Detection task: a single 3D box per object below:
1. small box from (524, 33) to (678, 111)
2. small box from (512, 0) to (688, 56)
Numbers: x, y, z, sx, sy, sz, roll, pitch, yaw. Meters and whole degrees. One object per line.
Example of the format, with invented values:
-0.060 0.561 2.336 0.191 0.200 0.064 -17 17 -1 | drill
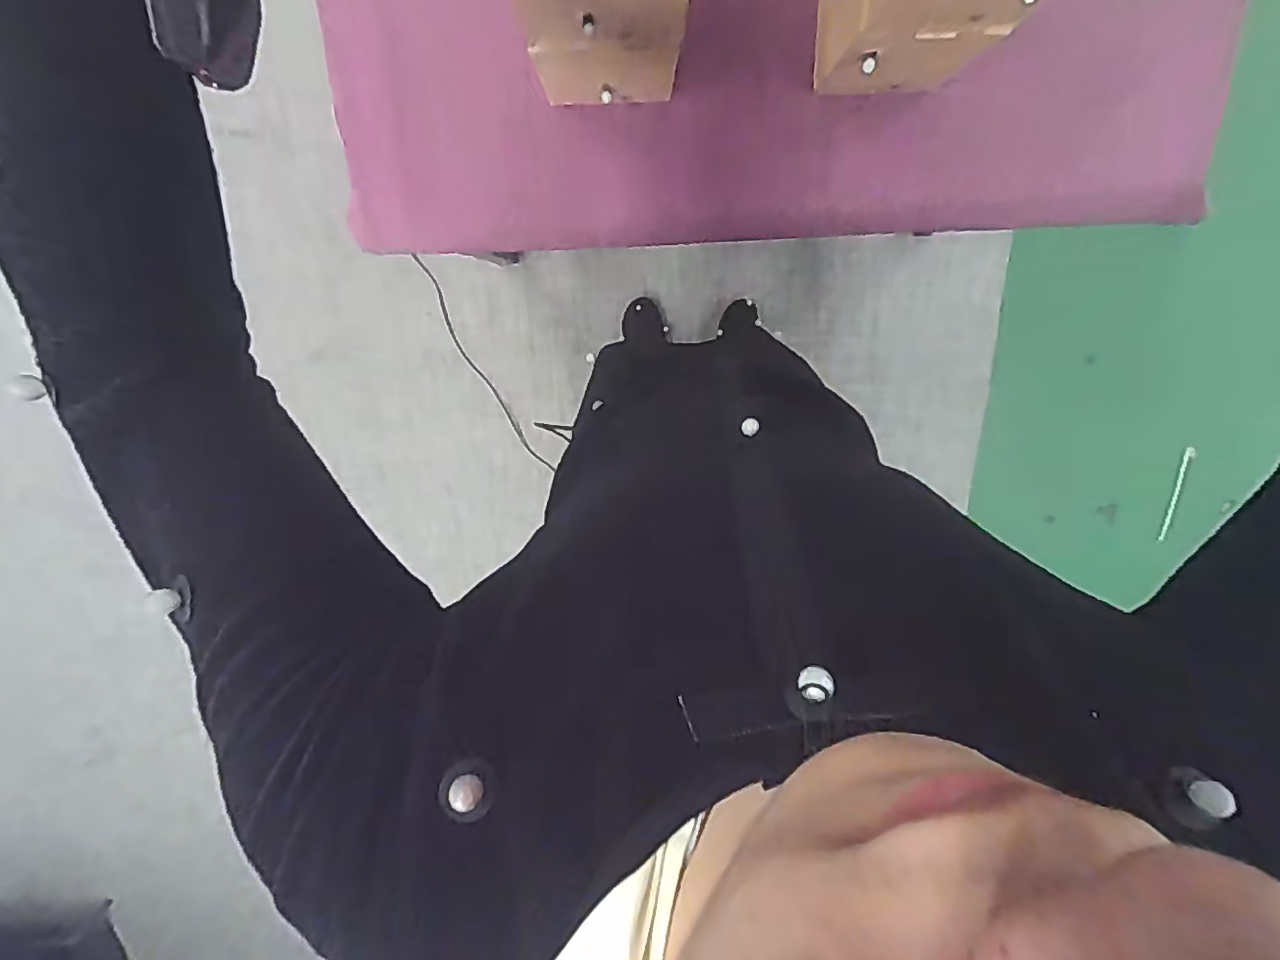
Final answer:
-0.044 -0.560 0.628 0.168 0.176 0.179 -2 108 0 | small box
-0.042 -0.513 0.472 0.168 0.176 0.179 -4 108 0 | small box
